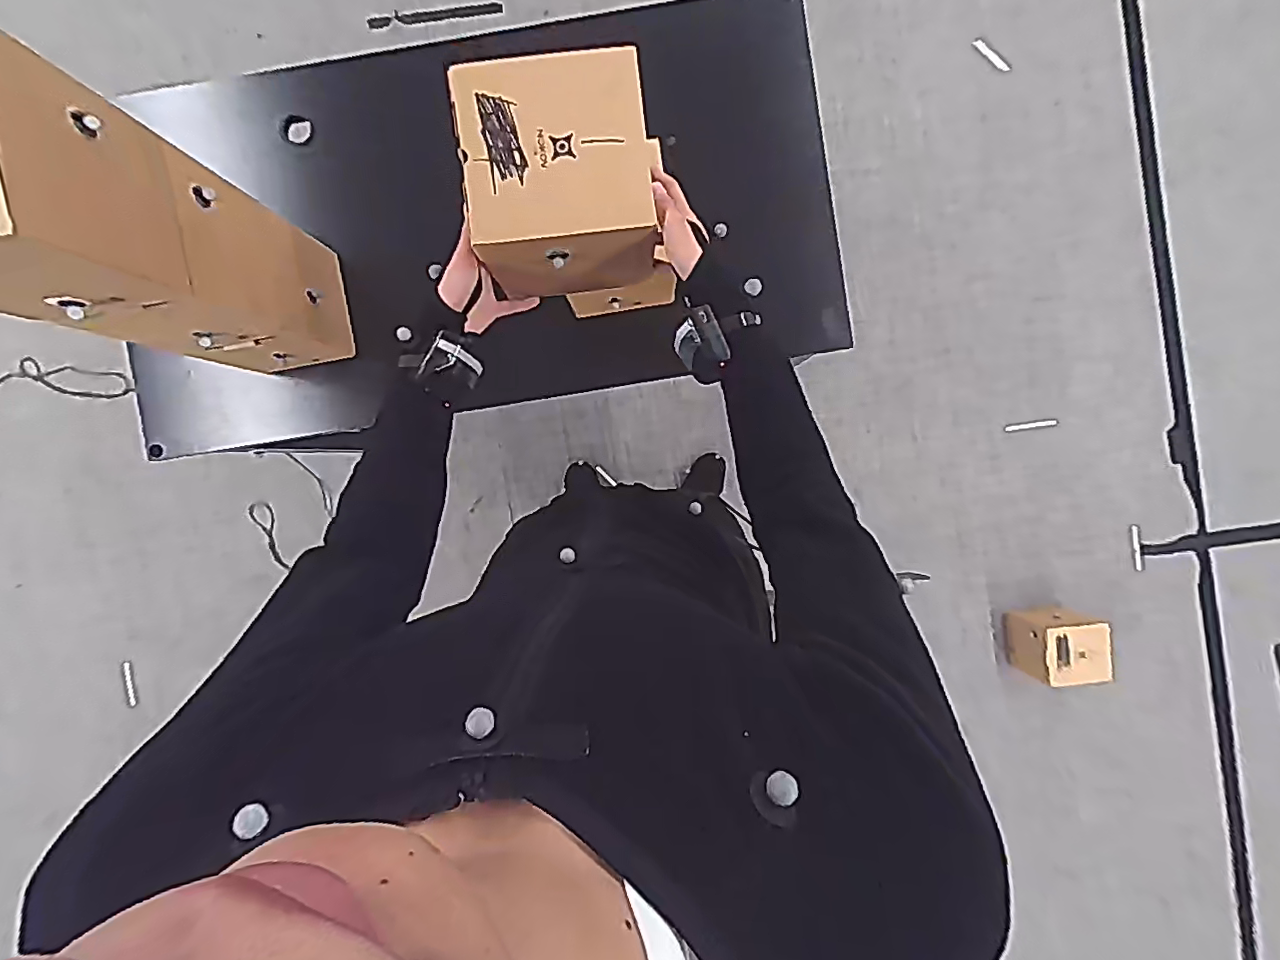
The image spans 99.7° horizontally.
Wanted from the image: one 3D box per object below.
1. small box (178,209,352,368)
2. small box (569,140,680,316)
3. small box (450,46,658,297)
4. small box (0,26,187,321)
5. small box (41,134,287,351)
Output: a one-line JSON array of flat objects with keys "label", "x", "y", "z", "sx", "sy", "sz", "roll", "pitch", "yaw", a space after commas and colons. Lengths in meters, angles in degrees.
[{"label": "small box", "x": -0.567, "y": -0.273, "z": 0.816, "sx": 0.168, "sy": 0.176, "sz": 0.179, "roll": -11, "pitch": 93, "yaw": 1}, {"label": "small box", "x": -0.038, "y": -0.364, "z": 0.809, "sx": 0.168, "sy": 0.176, "sz": 0.179, "roll": -9, "pitch": 92, "yaw": 1}, {"label": "small box", "x": -0.078, "y": -0.303, "z": 0.569, "sx": 0.179, "sy": 0.176, "sz": 0.168, "roll": -7, "pitch": 92, "yaw": -1}, {"label": "small box", "x": -0.568, "y": -0.262, "z": 0.488, "sx": 0.168, "sy": 0.176, "sz": 0.179, "roll": -10, "pitch": 93, "yaw": 2}, {"label": "small box", "x": -0.568, "y": -0.269, "z": 0.651, "sx": 0.168, "sy": 0.176, "sz": 0.179, "roll": -10, "pitch": 92, "yaw": 1}]
